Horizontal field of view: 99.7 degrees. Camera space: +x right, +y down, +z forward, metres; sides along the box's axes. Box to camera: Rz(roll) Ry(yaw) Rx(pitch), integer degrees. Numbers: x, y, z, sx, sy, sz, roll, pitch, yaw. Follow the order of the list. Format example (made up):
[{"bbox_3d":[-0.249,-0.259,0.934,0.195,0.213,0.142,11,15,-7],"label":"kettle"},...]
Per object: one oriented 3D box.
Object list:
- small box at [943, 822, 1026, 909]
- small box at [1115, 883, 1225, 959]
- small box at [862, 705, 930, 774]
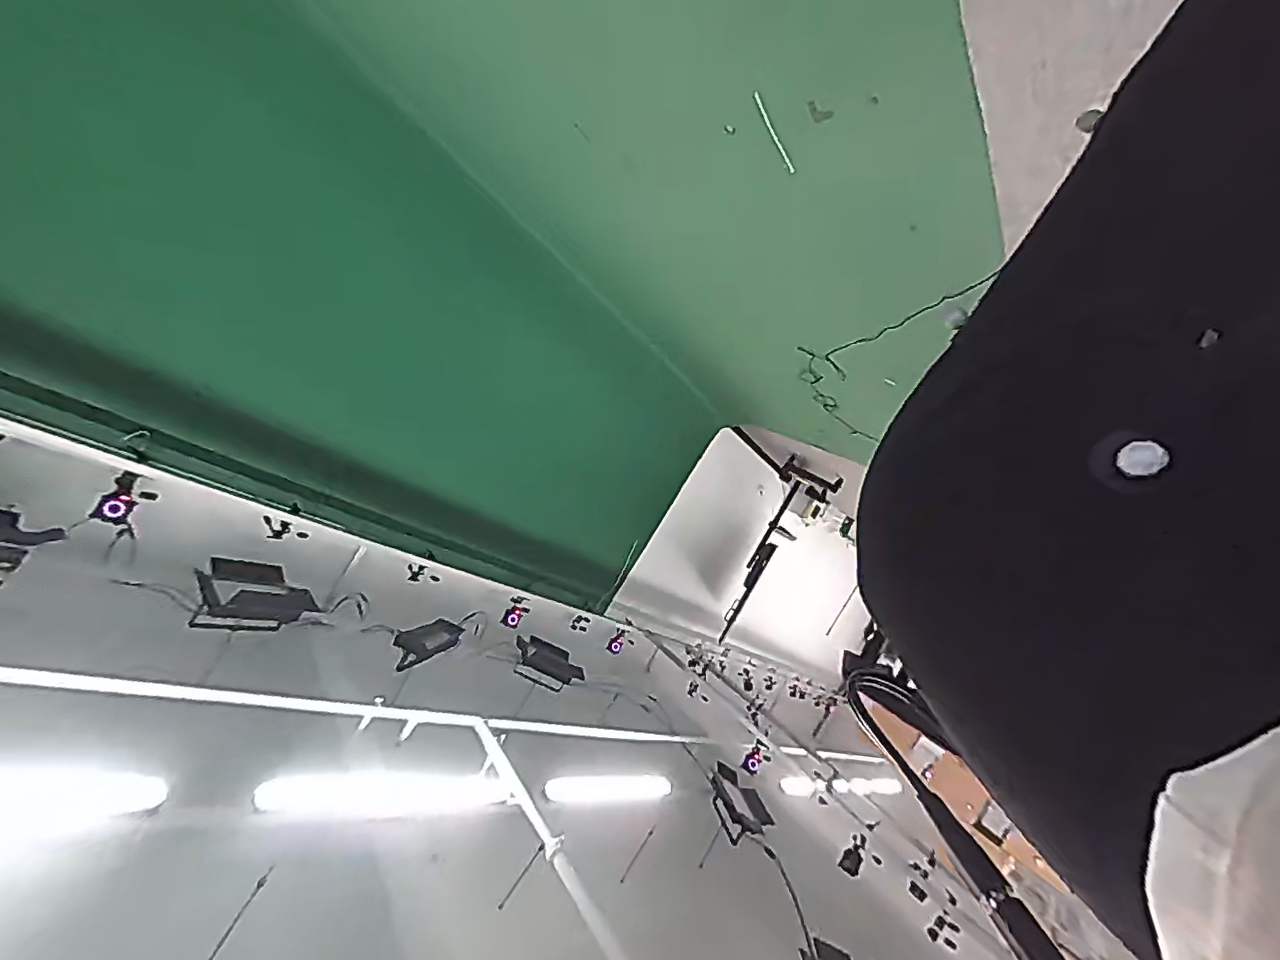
[{"bbox_3d":[1.148,1.274,1.798,0.179,0.176,0.168,33,178,-41],"label":"small box"},{"bbox_3d":[1.476,1.275,1.510,0.168,0.176,0.179,31,180,43],"label":"small box"},{"bbox_3d":[0.995,0.999,2.087,0.179,0.176,0.168,29,176,42],"label":"small box"}]
